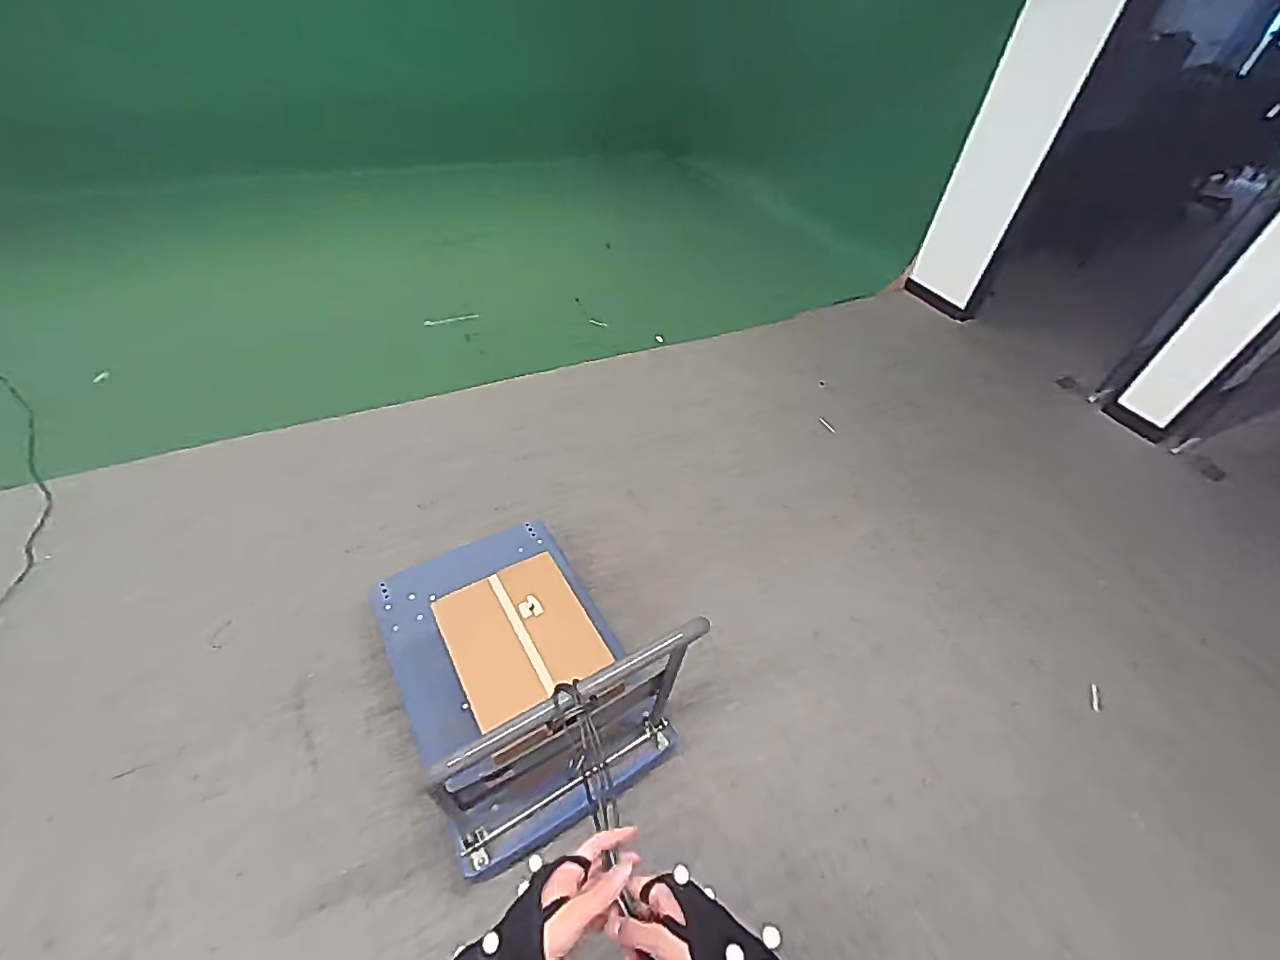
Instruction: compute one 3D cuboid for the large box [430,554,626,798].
[{"bbox_3d":[-0.266,0.470,1.328,0.320,0.320,0.408,-22,51,-24],"label":"large box"}]
